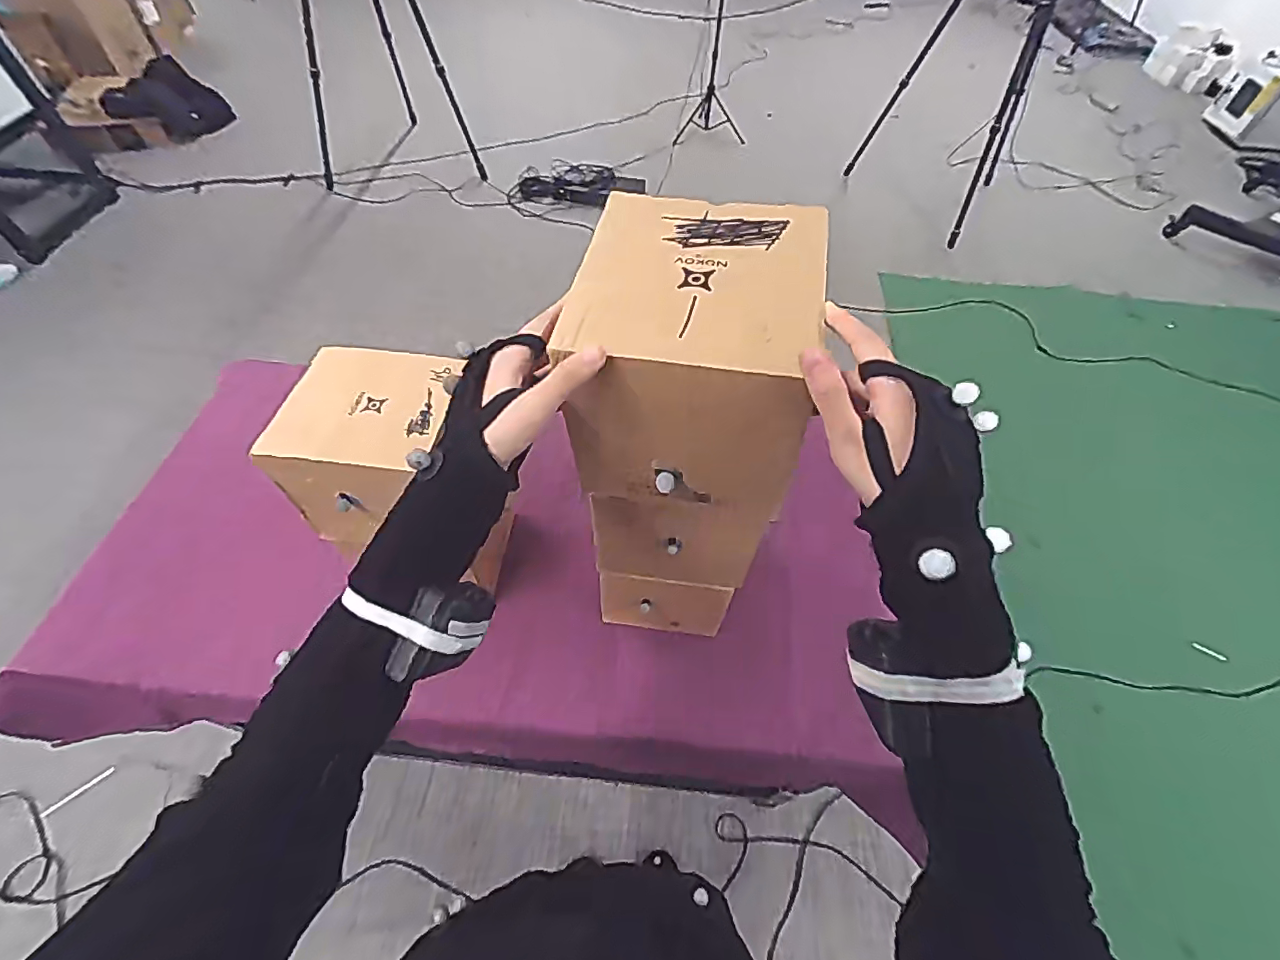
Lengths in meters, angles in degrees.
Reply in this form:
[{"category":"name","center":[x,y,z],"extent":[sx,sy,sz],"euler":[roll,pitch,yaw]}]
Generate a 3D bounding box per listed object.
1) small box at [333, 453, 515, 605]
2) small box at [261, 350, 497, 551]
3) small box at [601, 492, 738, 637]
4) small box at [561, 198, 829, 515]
[{"category":"small box","center":[-0.289,0.066,0.777],"extent":[0.179,0.176,0.168],"euler":[6,53,2]},{"category":"small box","center":[-0.287,-0.030,0.645],"extent":[0.179,0.176,0.168],"euler":[7,53,2]},{"category":"small box","center":[0.043,0.105,0.764],"extent":[0.168,0.176,0.179],"euler":[7,53,3]},{"category":"small box","center":[0.048,-0.096,0.439],"extent":[0.168,0.176,0.179],"euler":[8,58,9]}]
